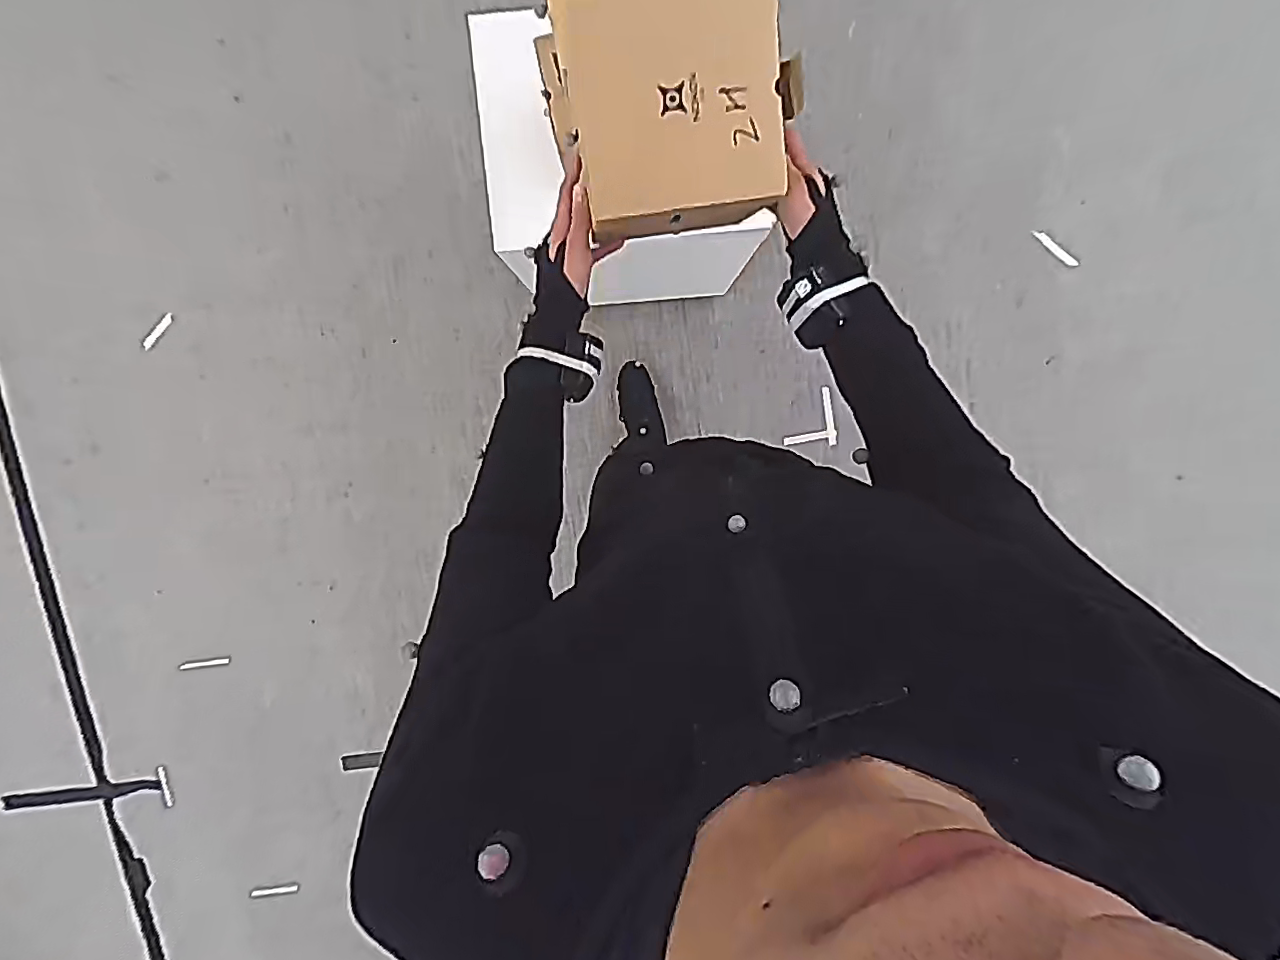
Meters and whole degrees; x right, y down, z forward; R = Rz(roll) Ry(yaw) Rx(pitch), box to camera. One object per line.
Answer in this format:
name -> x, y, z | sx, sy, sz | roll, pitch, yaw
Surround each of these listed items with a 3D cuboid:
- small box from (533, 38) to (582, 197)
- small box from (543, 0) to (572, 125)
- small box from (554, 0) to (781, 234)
small box -> -0.058, -0.589, 0.880 | 0.179, 0.176, 0.168 | -12, 97, 0
small box -> -0.034, -0.591, 0.717 | 0.168, 0.176, 0.179 | -12, 96, 1
small box -> 0.022, -0.346, 0.524 | 0.179, 0.176, 0.168 | -9, 108, -3
